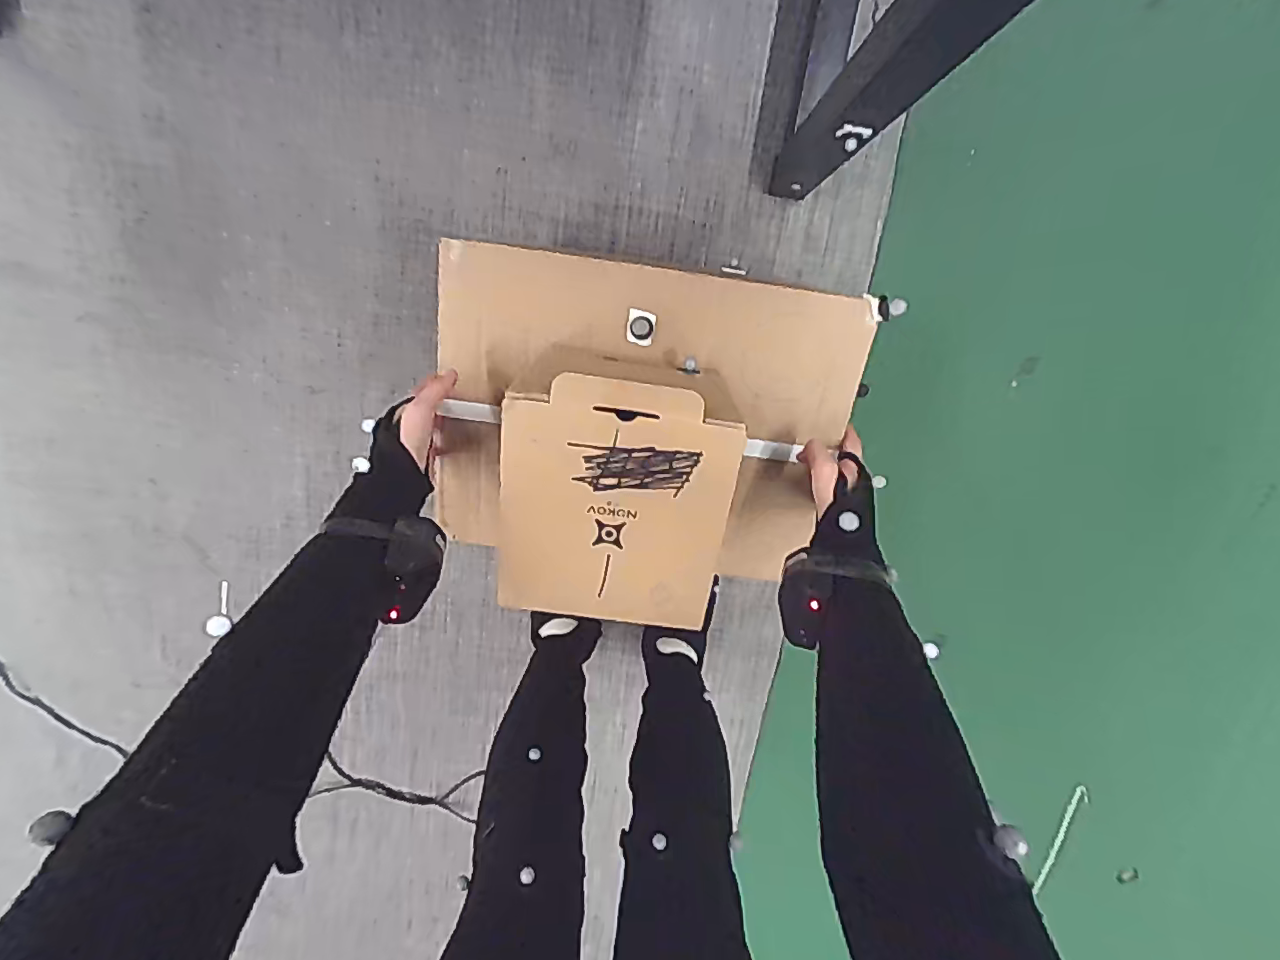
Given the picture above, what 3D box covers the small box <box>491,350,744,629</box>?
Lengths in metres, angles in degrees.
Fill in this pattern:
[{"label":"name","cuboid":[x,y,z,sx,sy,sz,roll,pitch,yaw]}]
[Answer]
[{"label":"small box","cuboid":[-0.021,-0.004,0.462,0.168,0.176,0.179,8,114,-2]}]
